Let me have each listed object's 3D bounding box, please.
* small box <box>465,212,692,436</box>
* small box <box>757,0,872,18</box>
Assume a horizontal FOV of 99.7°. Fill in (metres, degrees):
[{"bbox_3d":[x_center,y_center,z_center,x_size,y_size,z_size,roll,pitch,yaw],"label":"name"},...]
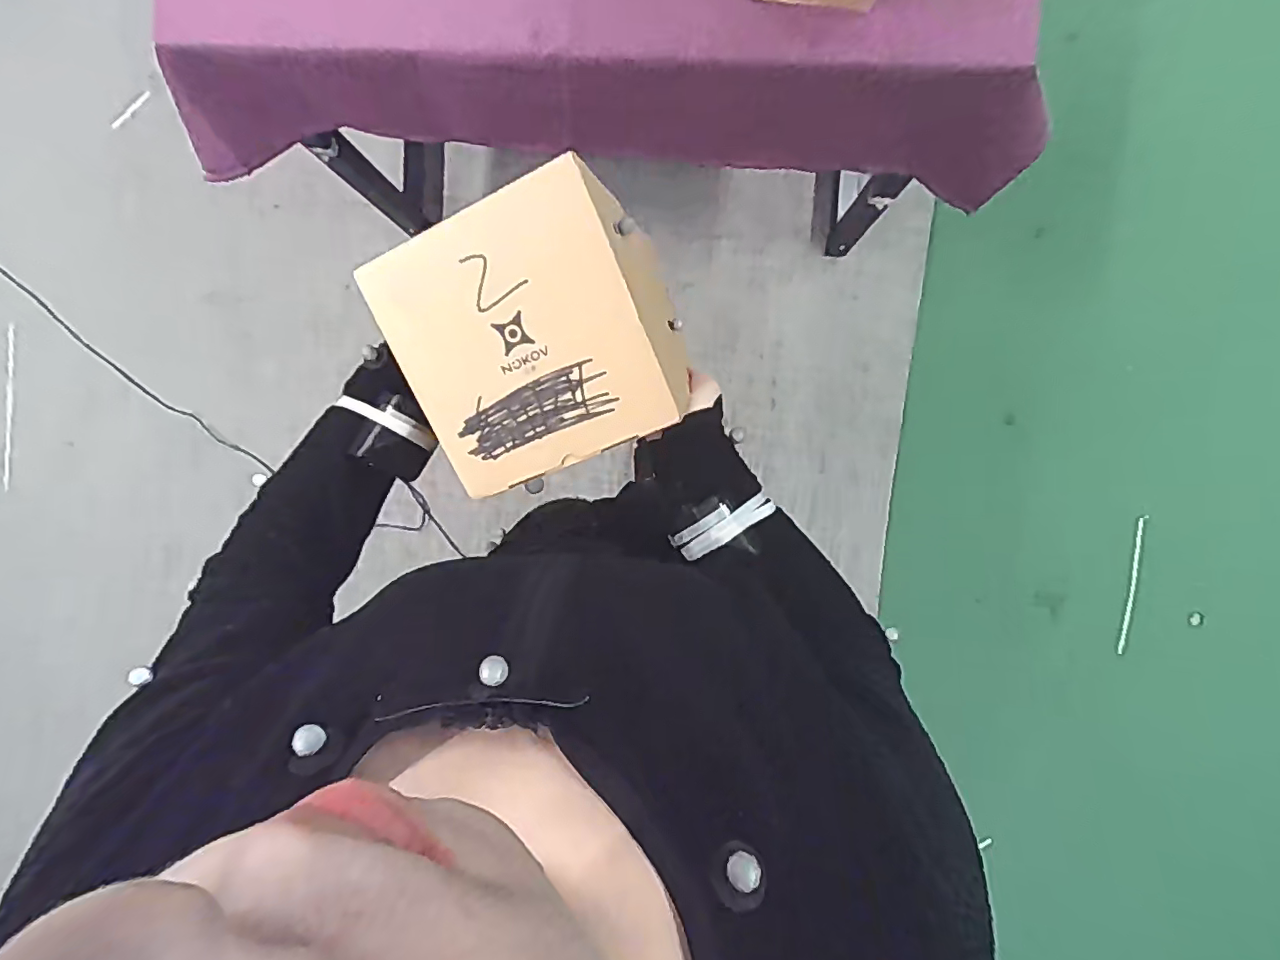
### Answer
[{"bbox_3d":[-0.051,-0.164,0.591,0.179,0.176,0.168,-17,105,13],"label":"small box"},{"bbox_3d":[0.235,-0.715,0.644,0.168,0.176,0.179,9,93,2],"label":"small box"}]
